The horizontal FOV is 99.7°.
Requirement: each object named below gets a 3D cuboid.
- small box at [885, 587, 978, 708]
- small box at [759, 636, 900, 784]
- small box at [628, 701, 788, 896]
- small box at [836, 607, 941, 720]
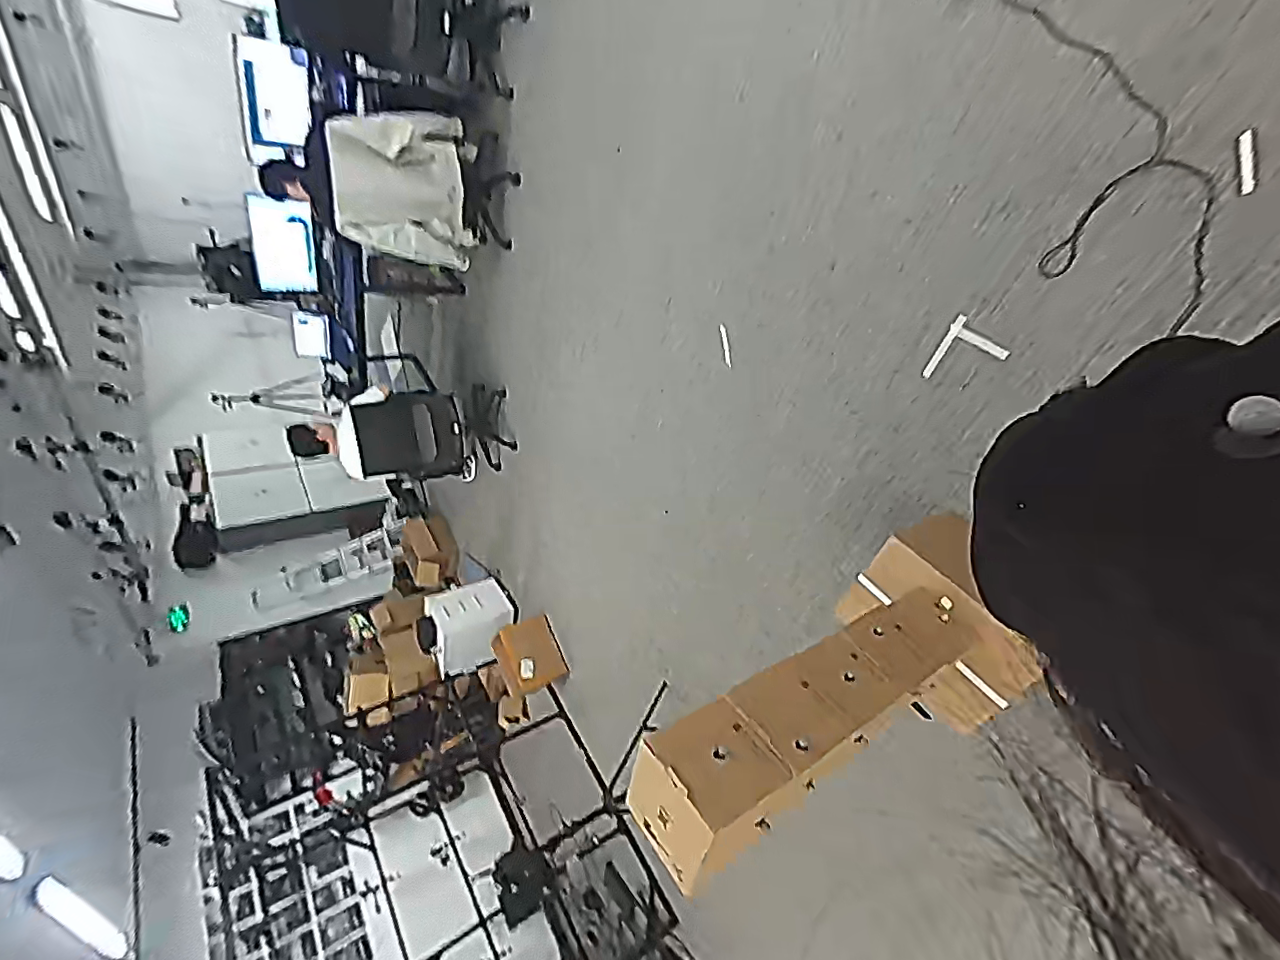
[{"bbox_3d":[0.627,0.377,1.235,0.168,0.176,0.179,47,134,35],"label":"small box"},{"bbox_3d":[0.367,0.434,1.045,0.168,0.176,0.179,44,132,40],"label":"small box"},{"bbox_3d":[0.107,0.488,0.853,0.168,0.176,0.179,40,129,42],"label":"small box"},{"bbox_3d":[0.497,0.399,1.140,0.168,0.176,0.179,47,136,37],"label":"small box"}]
